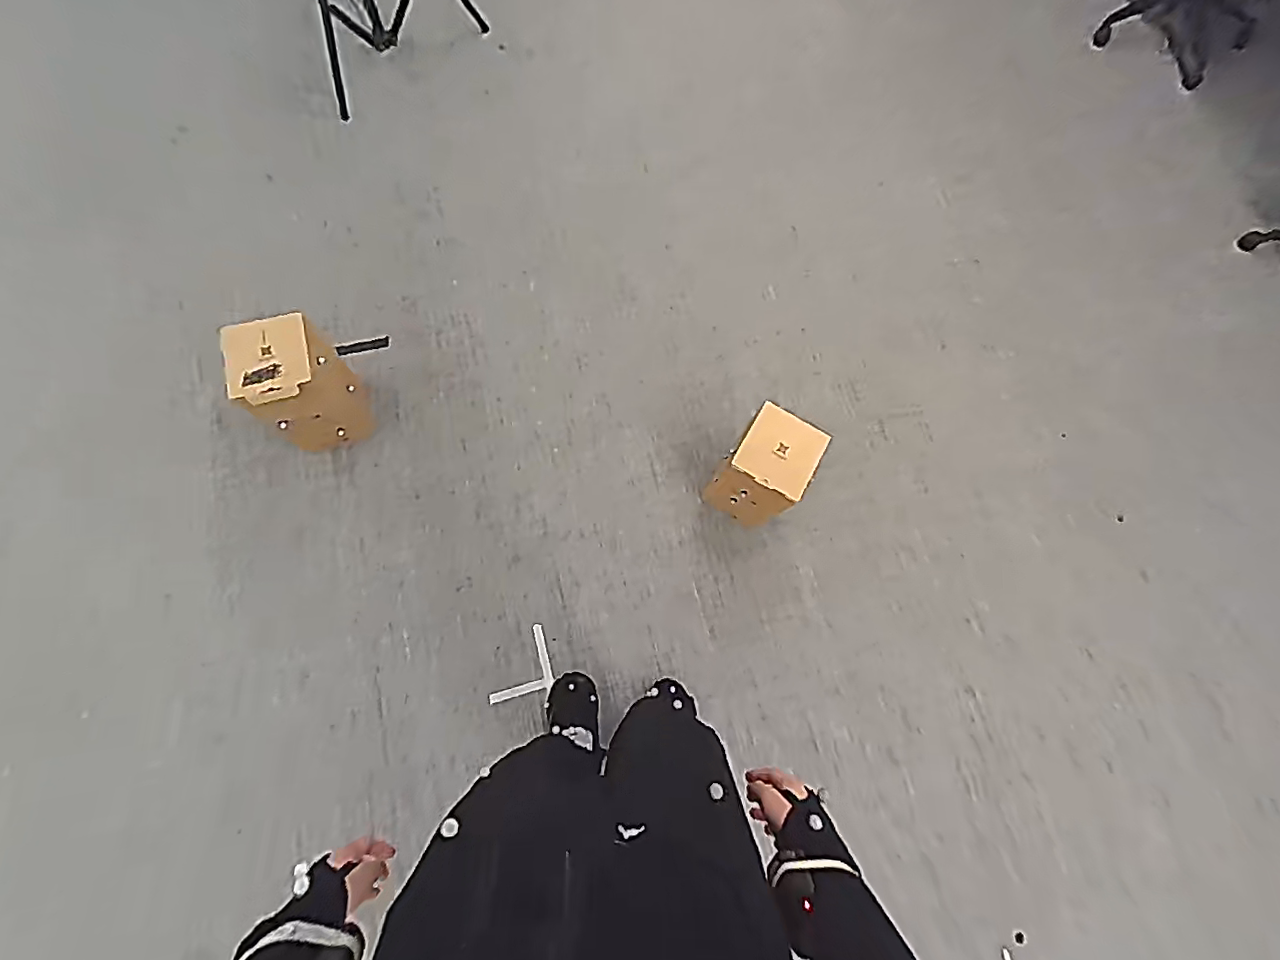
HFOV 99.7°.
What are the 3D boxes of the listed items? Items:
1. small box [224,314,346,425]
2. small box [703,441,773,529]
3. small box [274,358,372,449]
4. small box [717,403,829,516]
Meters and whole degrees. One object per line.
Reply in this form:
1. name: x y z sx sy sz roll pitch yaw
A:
1. small box: -0.785 -0.237 1.211 0.168 0.176 0.179 -15 76 -9
2. small box: 0.281 0.003 1.400 0.168 0.176 0.179 31 74 4
3. small box: -0.804 -0.191 1.369 0.168 0.176 0.179 -16 75 -10
4. small box: 0.296 -0.040 1.243 0.168 0.176 0.179 30 76 3
